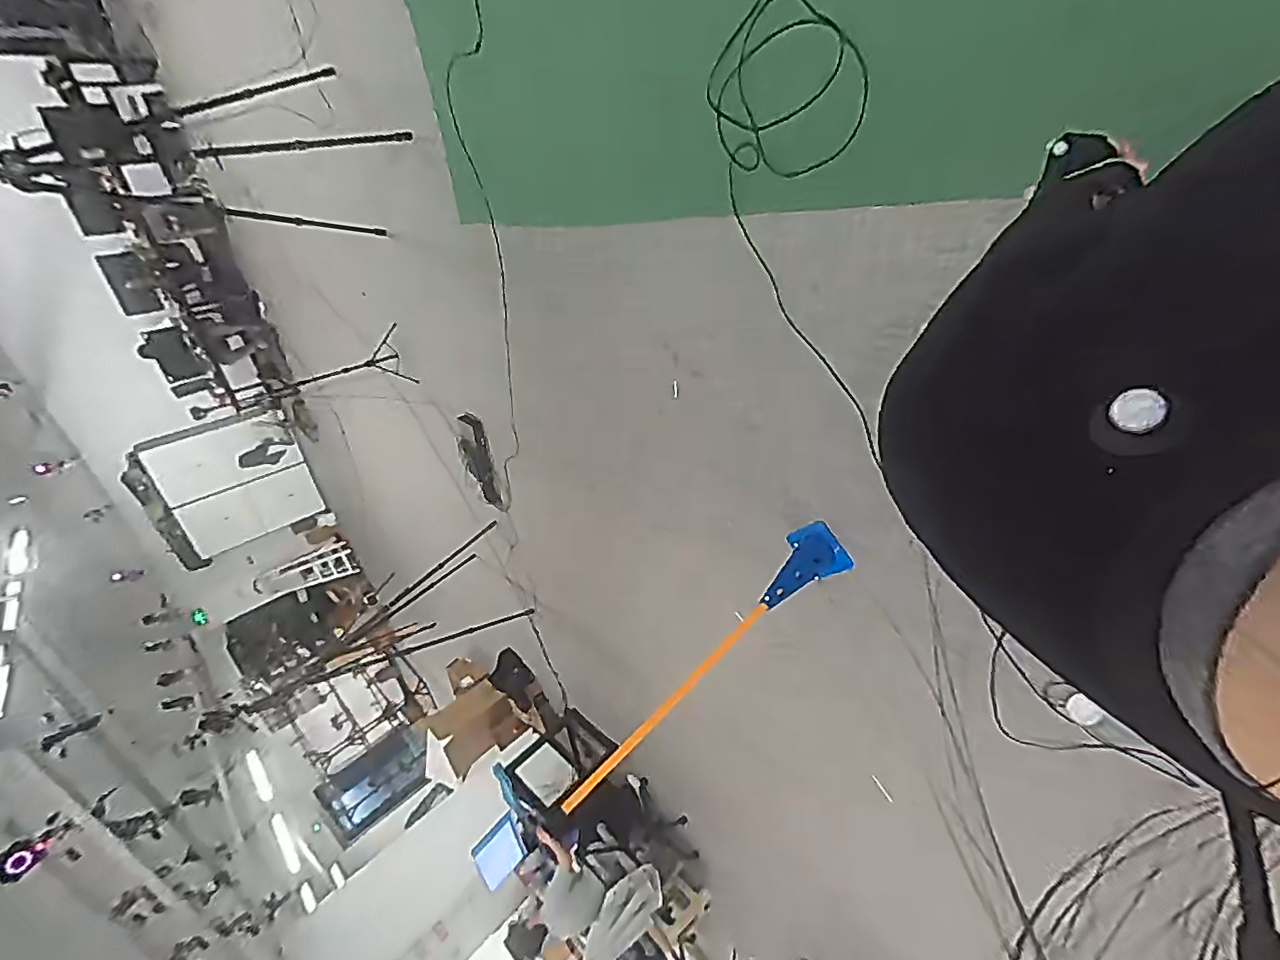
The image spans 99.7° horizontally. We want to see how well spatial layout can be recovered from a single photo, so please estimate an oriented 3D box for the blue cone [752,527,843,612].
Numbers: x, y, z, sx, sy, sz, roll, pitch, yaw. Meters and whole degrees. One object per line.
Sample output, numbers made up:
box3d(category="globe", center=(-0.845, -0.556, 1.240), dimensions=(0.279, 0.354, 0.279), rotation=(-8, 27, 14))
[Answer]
box3d(category="blue cone", center=(0.518, 0.345, 1.879), dimensions=(0.192, 0.380, 0.193), rotation=(54, 146, 5))
